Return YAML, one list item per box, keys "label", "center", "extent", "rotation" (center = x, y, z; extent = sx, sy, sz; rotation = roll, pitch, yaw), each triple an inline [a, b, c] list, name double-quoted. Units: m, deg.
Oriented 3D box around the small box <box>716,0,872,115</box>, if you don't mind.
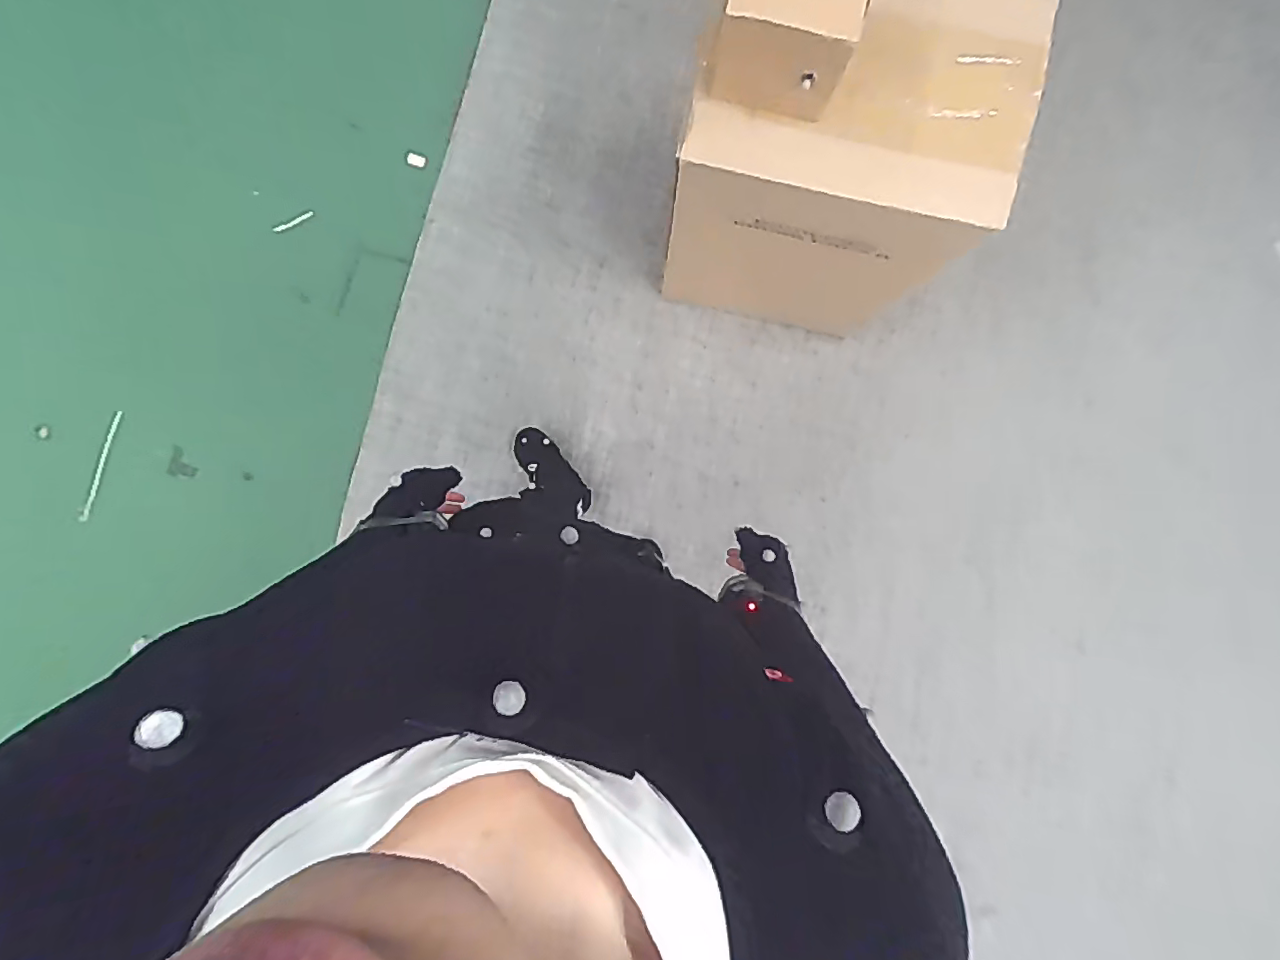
- label: "small box"
  center: [0.213, -0.651, 0.755]
  extent: [0.179, 0.176, 0.168]
  rotation: [13, 93, 2]
